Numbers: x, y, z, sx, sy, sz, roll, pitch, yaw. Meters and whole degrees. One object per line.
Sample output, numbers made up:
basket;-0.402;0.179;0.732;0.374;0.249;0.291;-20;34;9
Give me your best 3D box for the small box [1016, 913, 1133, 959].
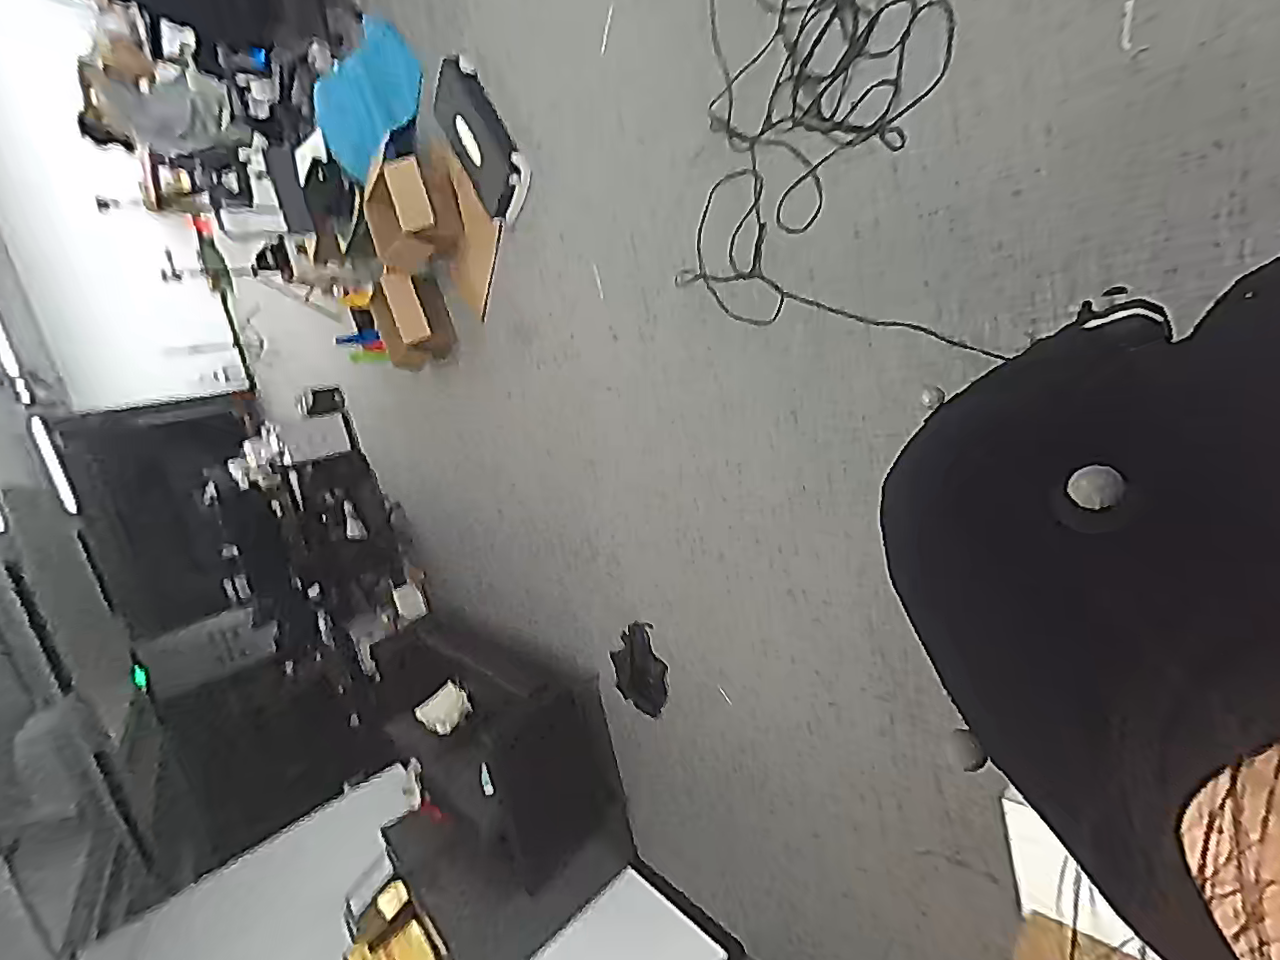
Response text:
small box;0.614;0.753;0.729;0.168;0.176;0.179;-4;104;52
